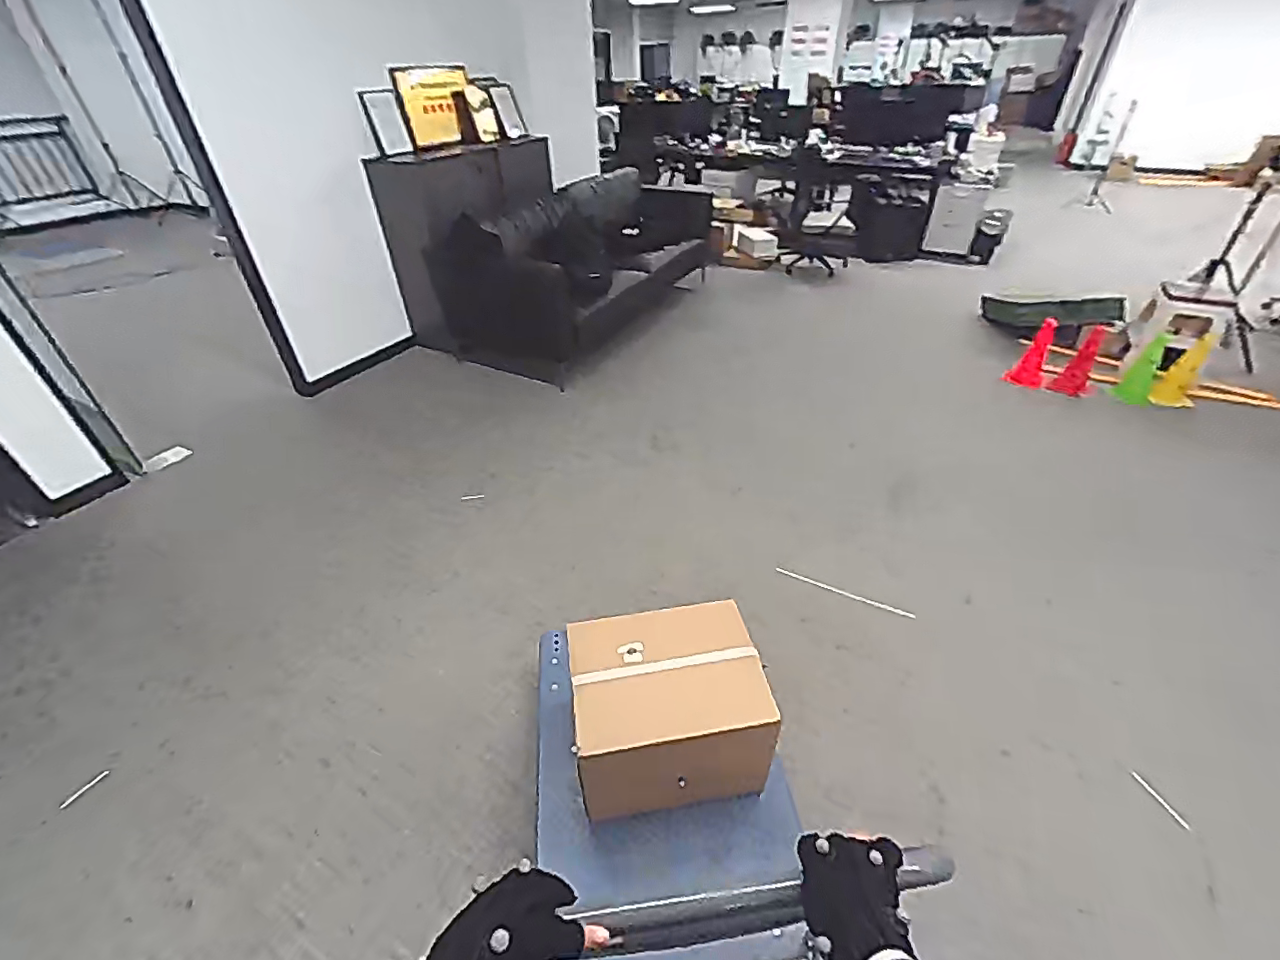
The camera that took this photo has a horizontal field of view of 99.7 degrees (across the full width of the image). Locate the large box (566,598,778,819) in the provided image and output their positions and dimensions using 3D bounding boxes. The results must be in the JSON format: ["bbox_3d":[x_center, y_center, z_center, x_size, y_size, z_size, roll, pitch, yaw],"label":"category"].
[{"bbox_3d":[0.058,0.520,1.246,0.408,0.320,0.320,-8,37,-8],"label":"large box"}]
